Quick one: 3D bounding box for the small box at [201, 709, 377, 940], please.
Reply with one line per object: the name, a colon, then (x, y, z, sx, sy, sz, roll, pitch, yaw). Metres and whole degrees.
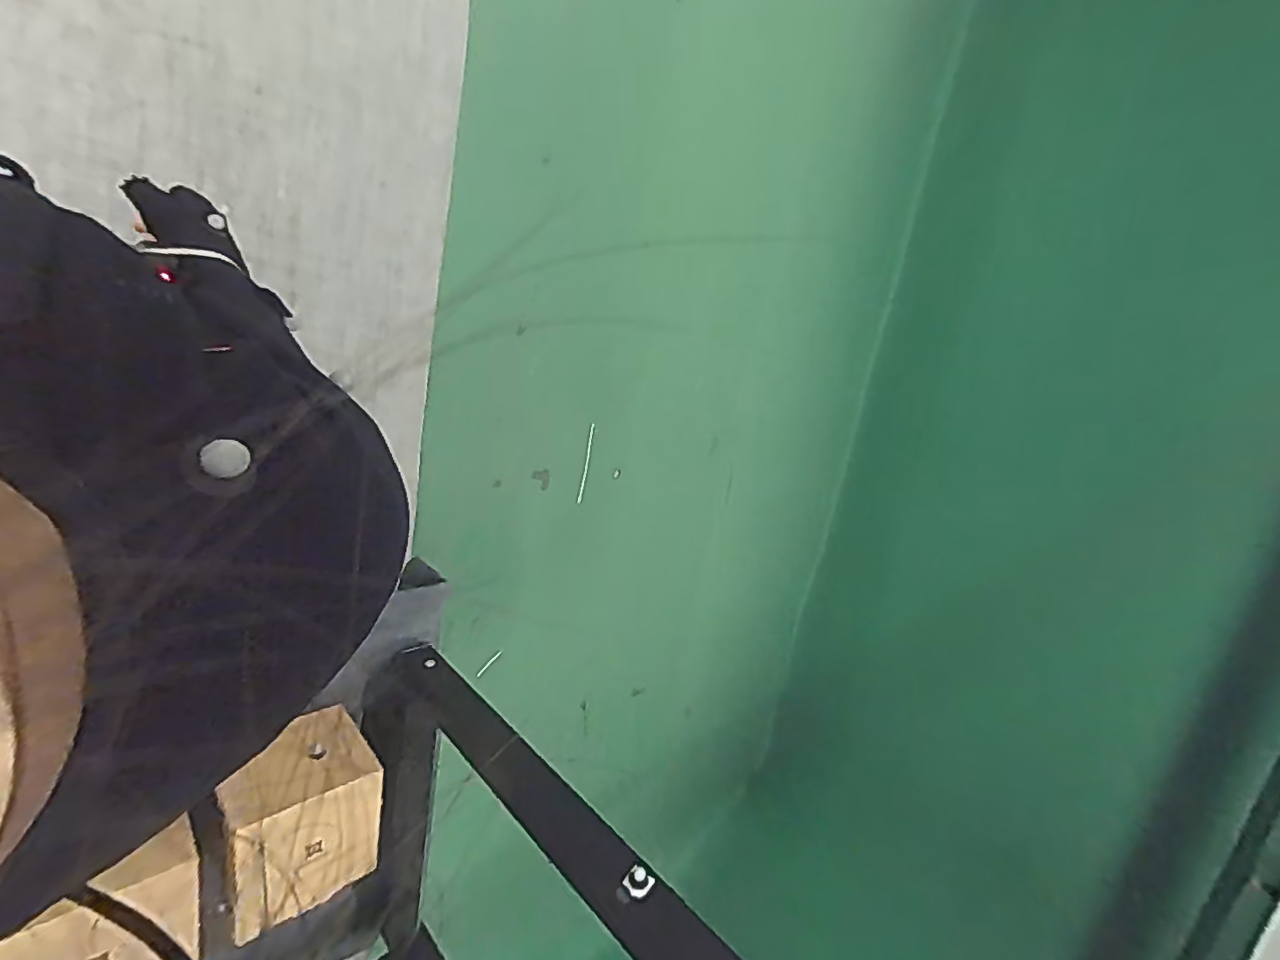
small box: (-0.479, 0.443, 0.736, 0.168, 0.176, 0.179, -4, 110, -47)
